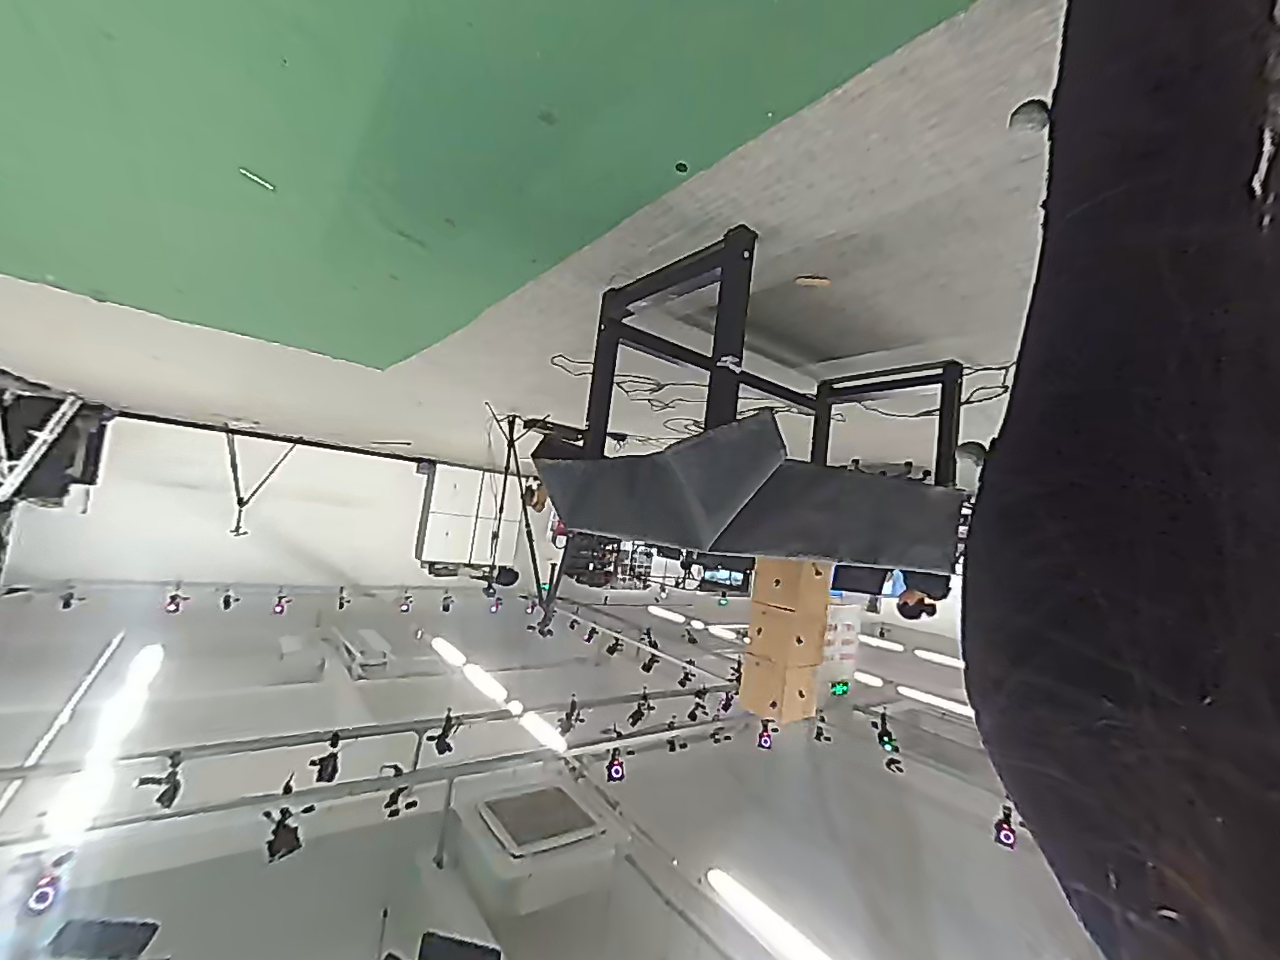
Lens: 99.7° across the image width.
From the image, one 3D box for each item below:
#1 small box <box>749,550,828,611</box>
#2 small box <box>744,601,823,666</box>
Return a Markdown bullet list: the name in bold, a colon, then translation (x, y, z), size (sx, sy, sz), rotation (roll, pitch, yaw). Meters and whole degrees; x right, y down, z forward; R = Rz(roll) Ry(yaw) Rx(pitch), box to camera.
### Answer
- **small box**: translation (0.472, 0.313, 1.708), size (0.168, 0.176, 0.179), rotation (10, 174, -38)
- **small box**: translation (0.452, 0.475, 1.700), size (0.179, 0.176, 0.168), rotation (10, 176, -35)
